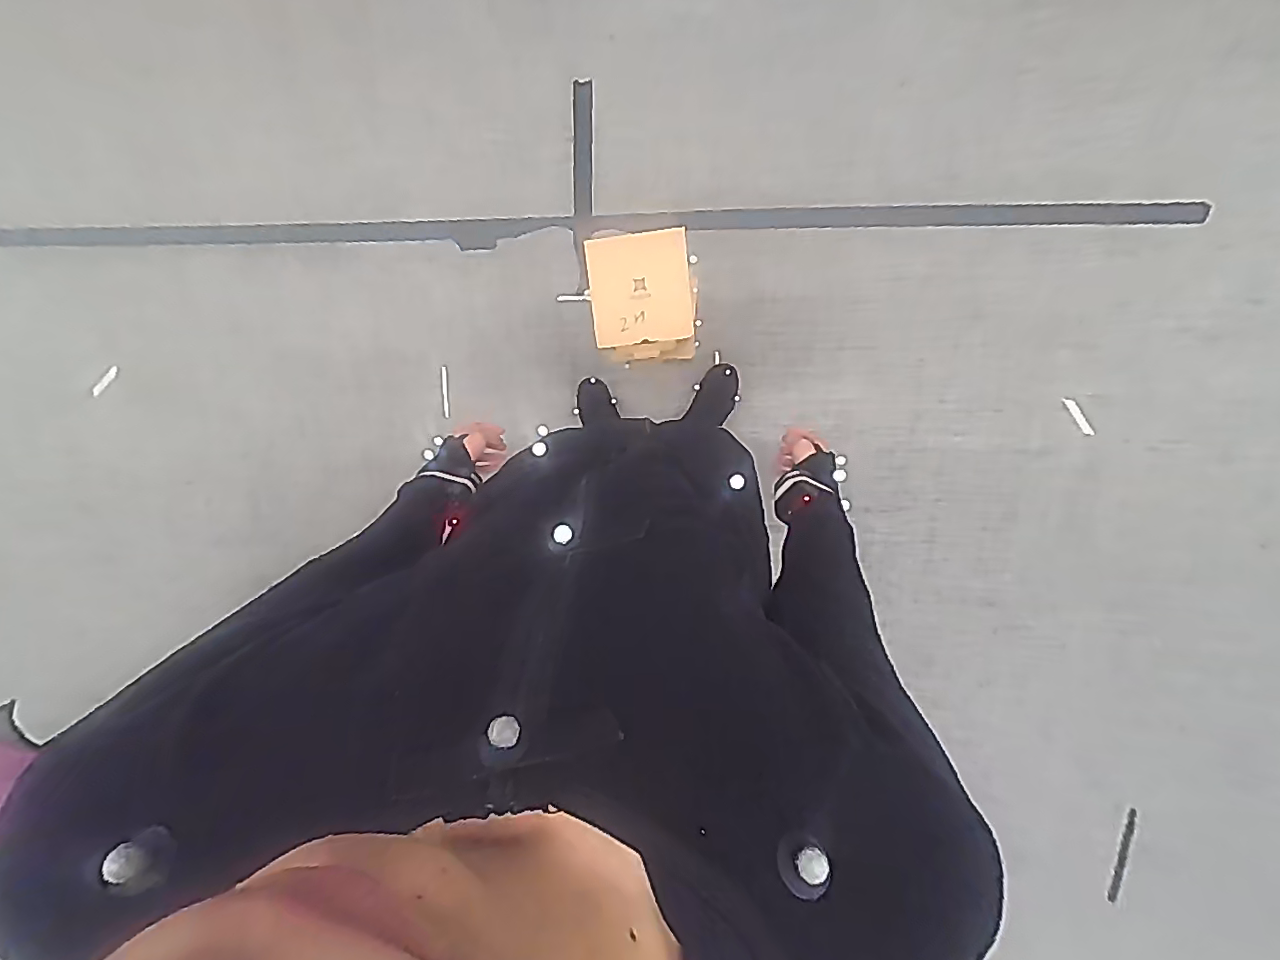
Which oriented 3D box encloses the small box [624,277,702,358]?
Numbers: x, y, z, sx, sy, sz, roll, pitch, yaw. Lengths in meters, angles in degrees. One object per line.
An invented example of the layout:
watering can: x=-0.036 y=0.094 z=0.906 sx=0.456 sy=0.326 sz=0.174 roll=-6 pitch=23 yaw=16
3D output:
small box: x=0.053 y=-0.388 z=1.288 sx=0.168 sy=0.176 sz=0.179 roll=5 pitch=105 yaw=2

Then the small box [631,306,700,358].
small box: x=0.068 y=-0.415 z=1.448 sx=0.179 sy=0.176 sz=0.168 roll=1 pitch=104 yaw=5

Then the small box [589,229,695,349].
small box: x=0.008 y=-0.330 z=0.965 sx=0.168 sy=0.176 sz=0.179 roll=-5 pitch=104 yaw=6
